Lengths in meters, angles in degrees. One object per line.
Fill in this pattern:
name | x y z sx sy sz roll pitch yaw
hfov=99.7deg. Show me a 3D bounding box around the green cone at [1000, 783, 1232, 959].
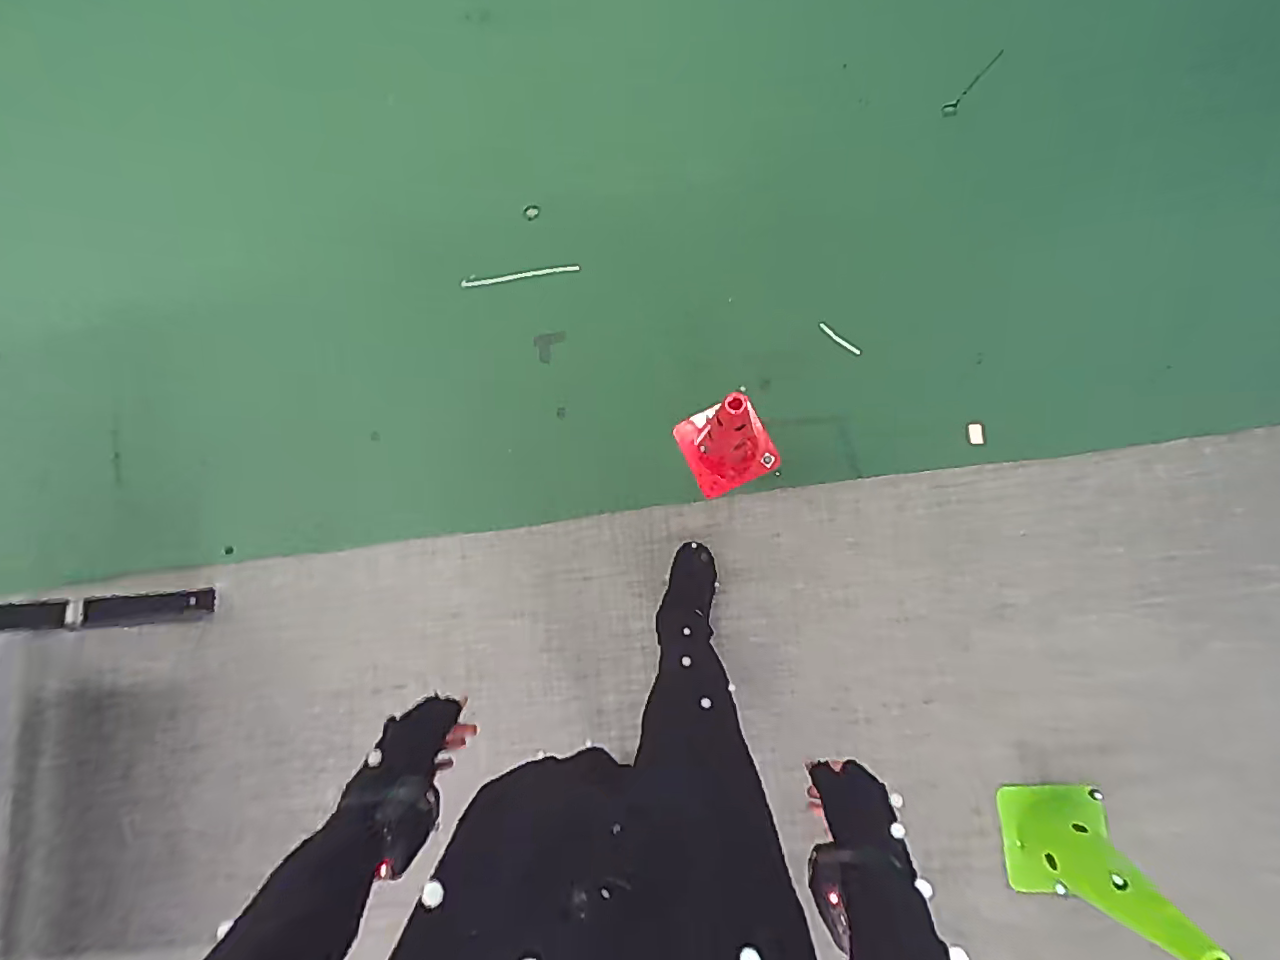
green cone | 0.825 0.700 0.928 0.200 0.368 0.202 -5 82 6
